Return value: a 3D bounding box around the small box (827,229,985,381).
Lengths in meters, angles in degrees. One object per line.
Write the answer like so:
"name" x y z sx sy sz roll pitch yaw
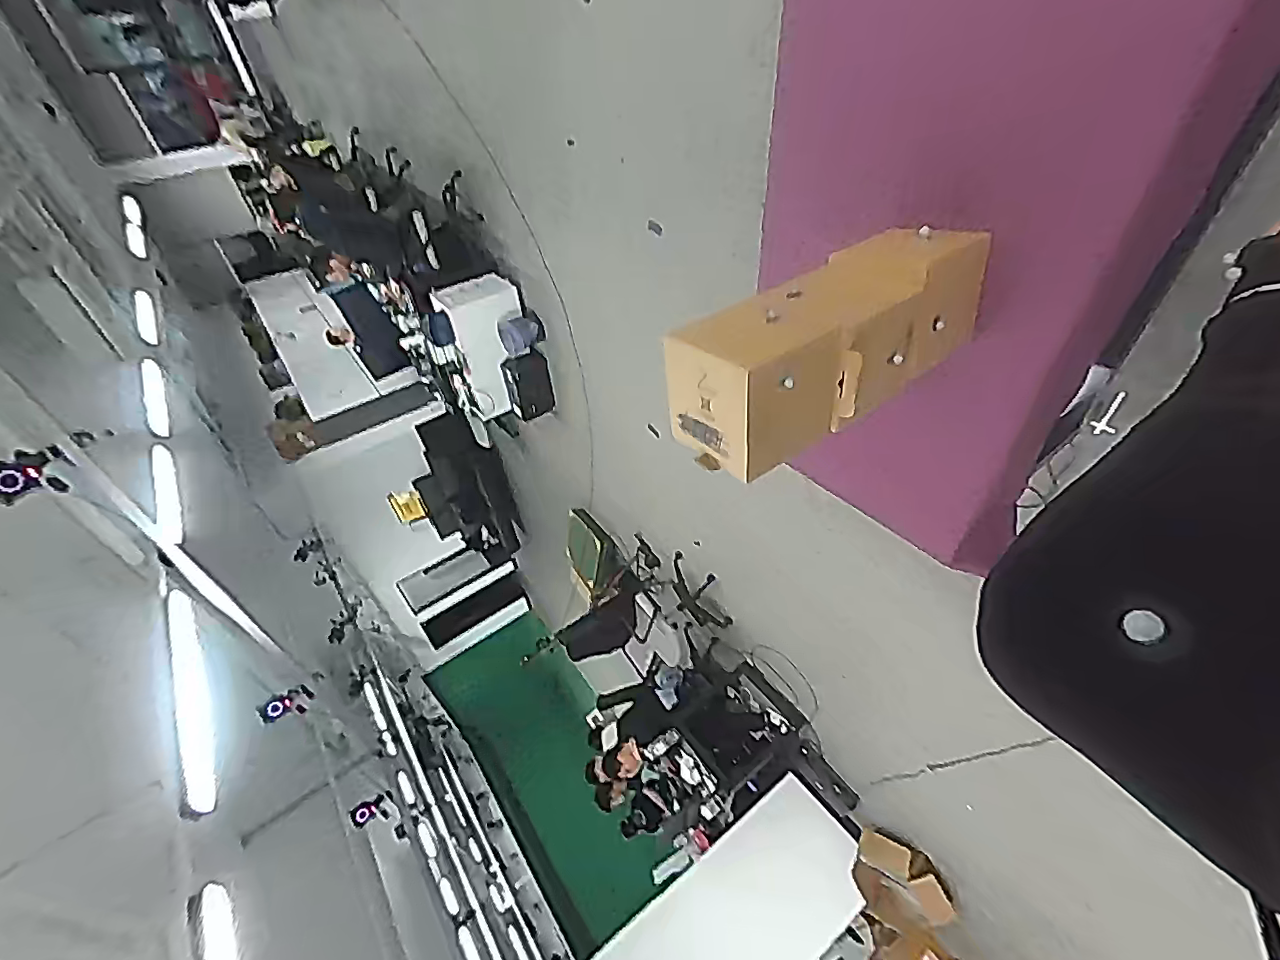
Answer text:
"small box" 0.422 -0.288 0.874 0.168 0.176 0.179 33 143 46

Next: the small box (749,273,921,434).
"small box" 0.288 -0.202 0.827 0.179 0.176 0.168 37 148 42
